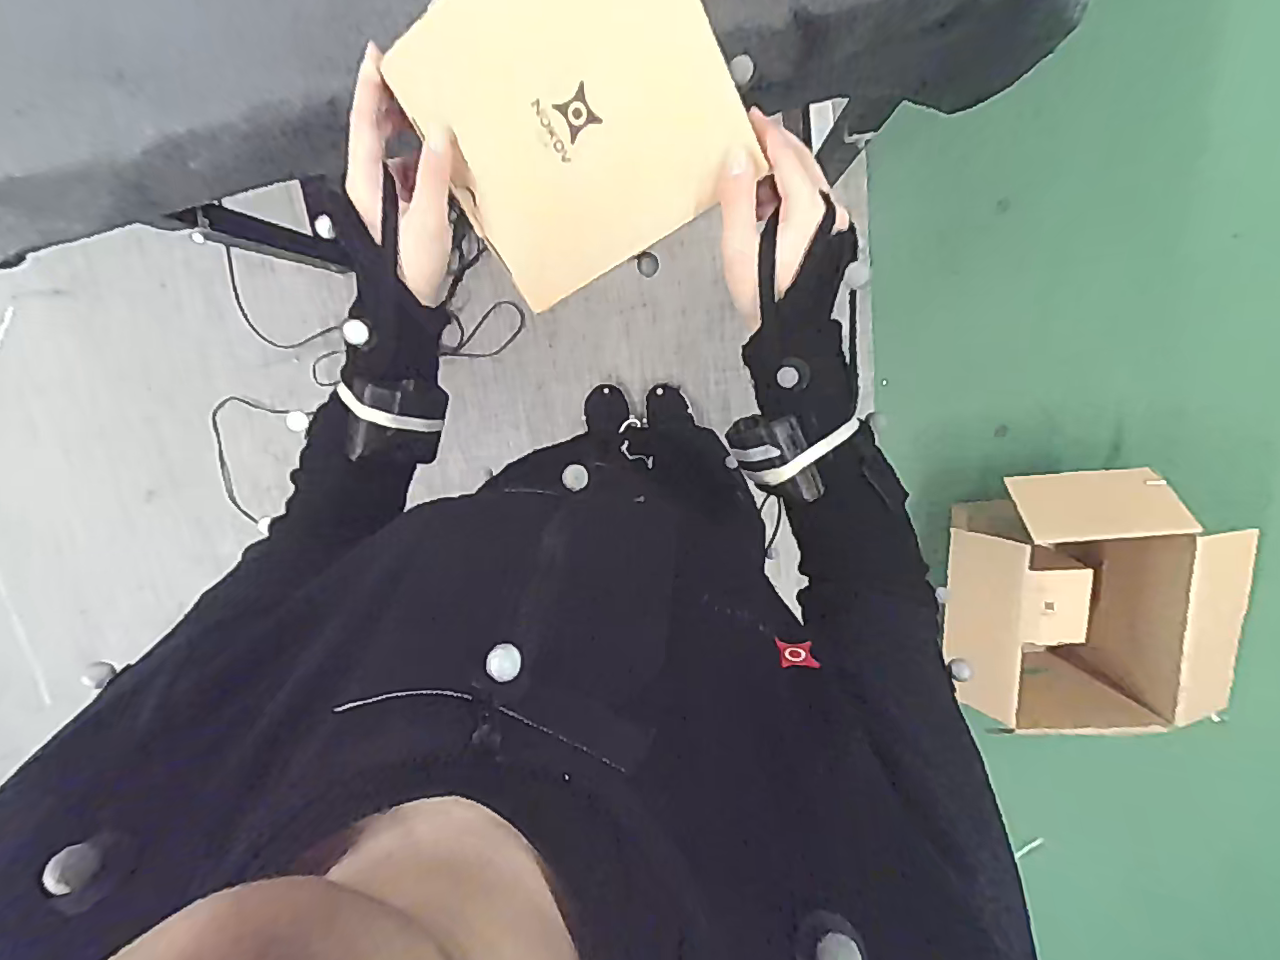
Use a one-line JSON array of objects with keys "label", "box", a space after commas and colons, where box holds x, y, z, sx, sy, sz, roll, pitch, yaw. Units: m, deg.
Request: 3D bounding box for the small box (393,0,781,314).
[{"label": "small box", "box": [-0.019, -0.247, 0.376, 0.179, 0.176, 0.168, -23, 113, 23]}]
